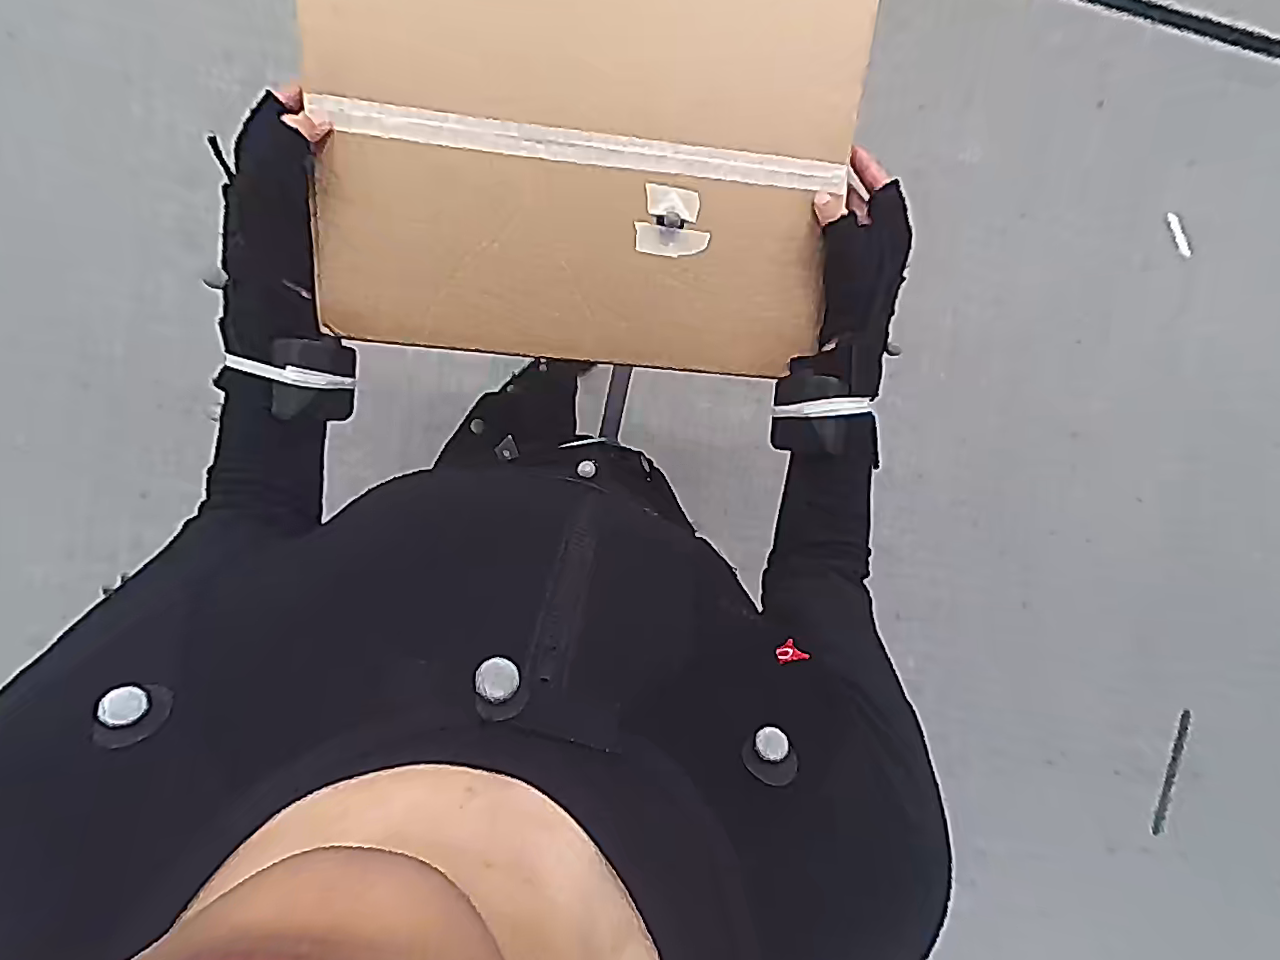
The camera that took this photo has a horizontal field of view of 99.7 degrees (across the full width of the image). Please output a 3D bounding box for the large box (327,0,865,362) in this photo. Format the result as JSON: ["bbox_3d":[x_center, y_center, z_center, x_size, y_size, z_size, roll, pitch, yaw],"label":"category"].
[{"bbox_3d":[-0.049,-0.302,0.568,0.408,0.320,0.320,4,106,-7],"label":"large box"}]
